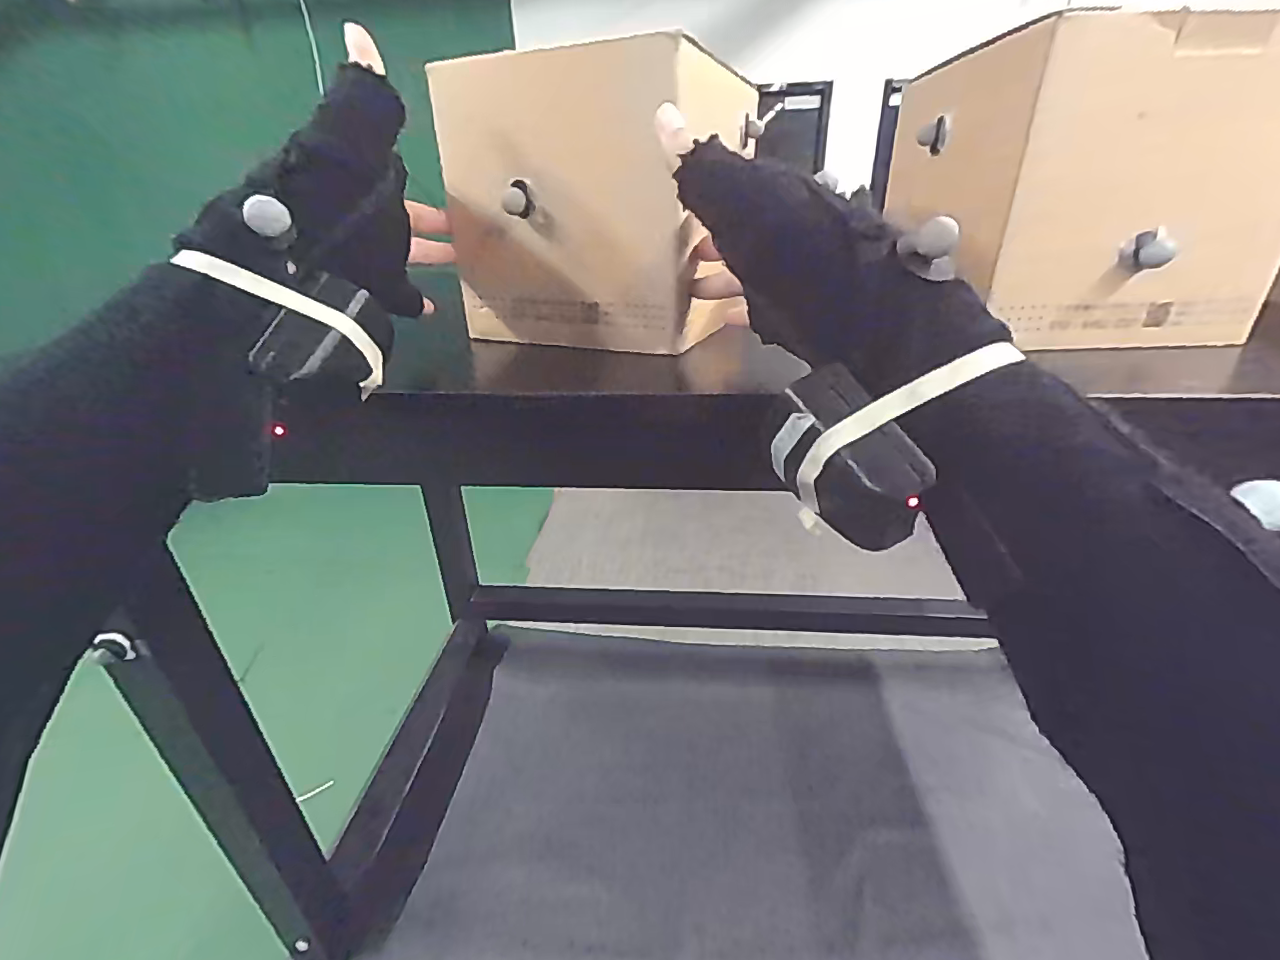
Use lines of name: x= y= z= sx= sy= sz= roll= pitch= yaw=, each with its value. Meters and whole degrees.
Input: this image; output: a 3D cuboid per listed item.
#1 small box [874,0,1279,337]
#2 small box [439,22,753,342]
small box: x=0.285 y=-0.202 z=0.381 sx=0.168 sy=0.176 sz=0.179 roll=-2 pitch=26 yaw=1
small box: x=-0.016 y=-0.205 z=0.409 sx=0.168 sy=0.176 sz=0.179 roll=9 pitch=27 yaw=20
